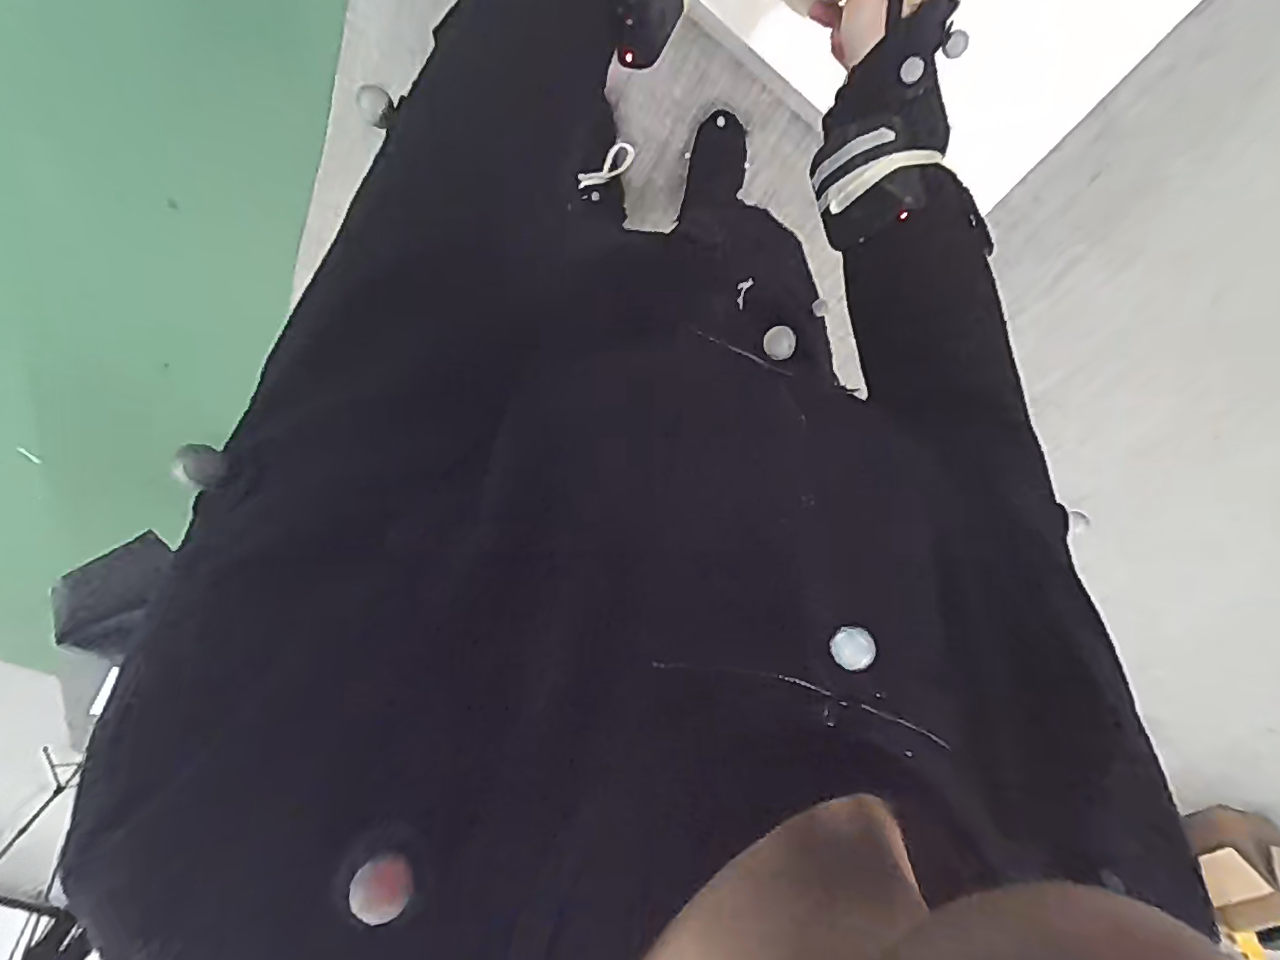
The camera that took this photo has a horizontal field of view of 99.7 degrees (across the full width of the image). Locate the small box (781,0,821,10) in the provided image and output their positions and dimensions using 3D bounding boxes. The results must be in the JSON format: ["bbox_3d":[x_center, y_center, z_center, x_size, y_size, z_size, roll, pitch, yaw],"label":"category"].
[{"bbox_3d":[0.118,-0.466,0.363,0.168,0.176,0.179,28,124,-15],"label":"small box"}]
